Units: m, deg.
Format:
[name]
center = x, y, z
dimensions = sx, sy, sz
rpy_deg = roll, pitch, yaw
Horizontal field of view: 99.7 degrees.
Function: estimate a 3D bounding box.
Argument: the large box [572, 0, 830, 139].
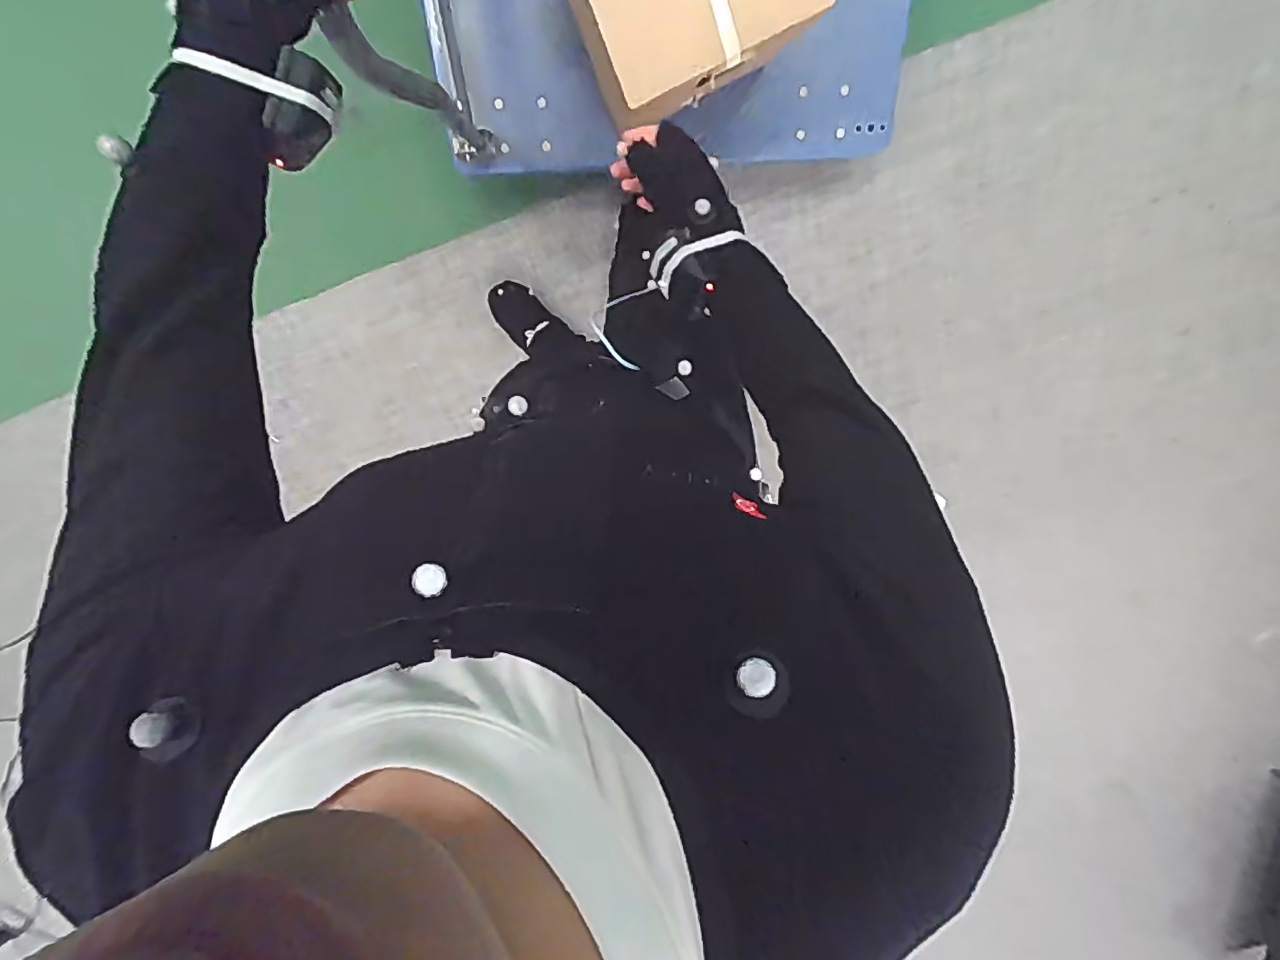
[large box]
center = 0.037, -0.816, 0.816
dimensions = 0.320, 0.320, 0.408
rpy_deg = -23, 114, 7
